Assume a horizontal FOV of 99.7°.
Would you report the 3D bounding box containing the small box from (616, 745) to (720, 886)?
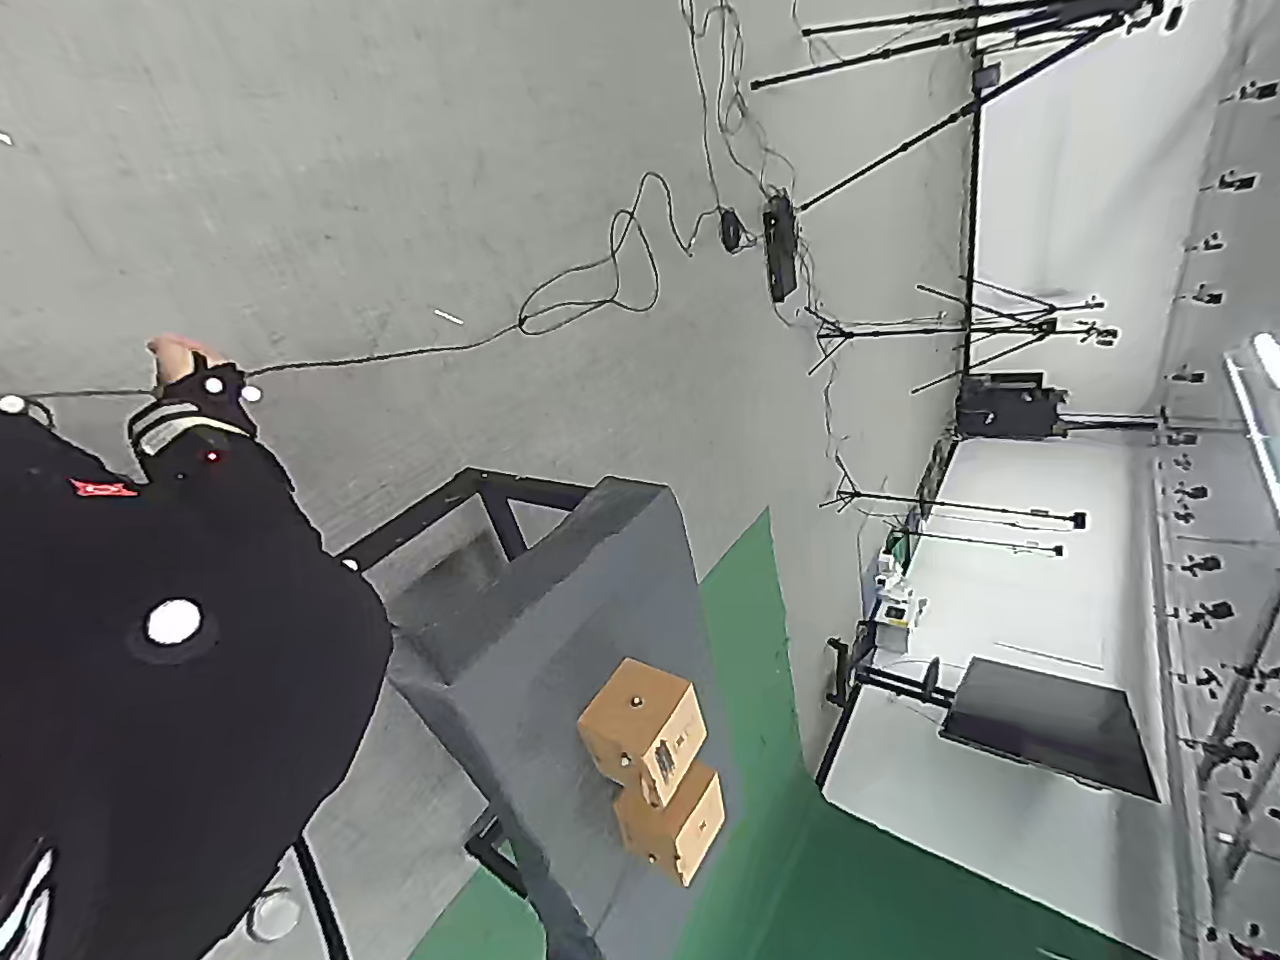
[{"bbox_3d":[0.060,0.743,1.216,0.179,0.176,0.168,-37,126,-45],"label":"small box"}]
